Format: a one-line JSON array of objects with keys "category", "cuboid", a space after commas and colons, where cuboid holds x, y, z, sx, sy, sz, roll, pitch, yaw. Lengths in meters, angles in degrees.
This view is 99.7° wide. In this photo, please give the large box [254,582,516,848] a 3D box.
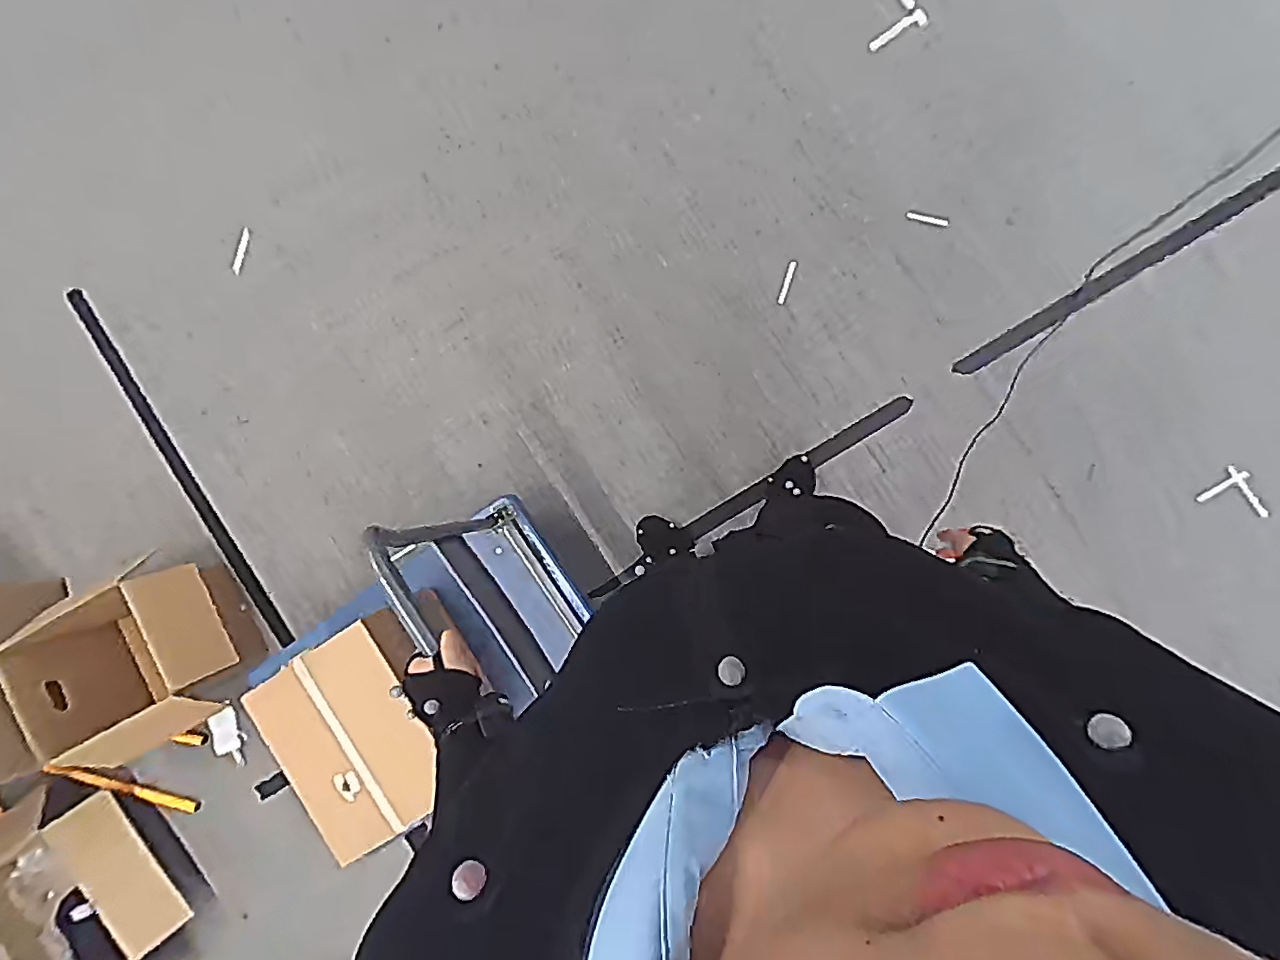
[{"category": "large box", "cuboid": [-0.557, 0.508, 1.250, 0.320, 0.320, 0.408, -33, 89, 5]}]
